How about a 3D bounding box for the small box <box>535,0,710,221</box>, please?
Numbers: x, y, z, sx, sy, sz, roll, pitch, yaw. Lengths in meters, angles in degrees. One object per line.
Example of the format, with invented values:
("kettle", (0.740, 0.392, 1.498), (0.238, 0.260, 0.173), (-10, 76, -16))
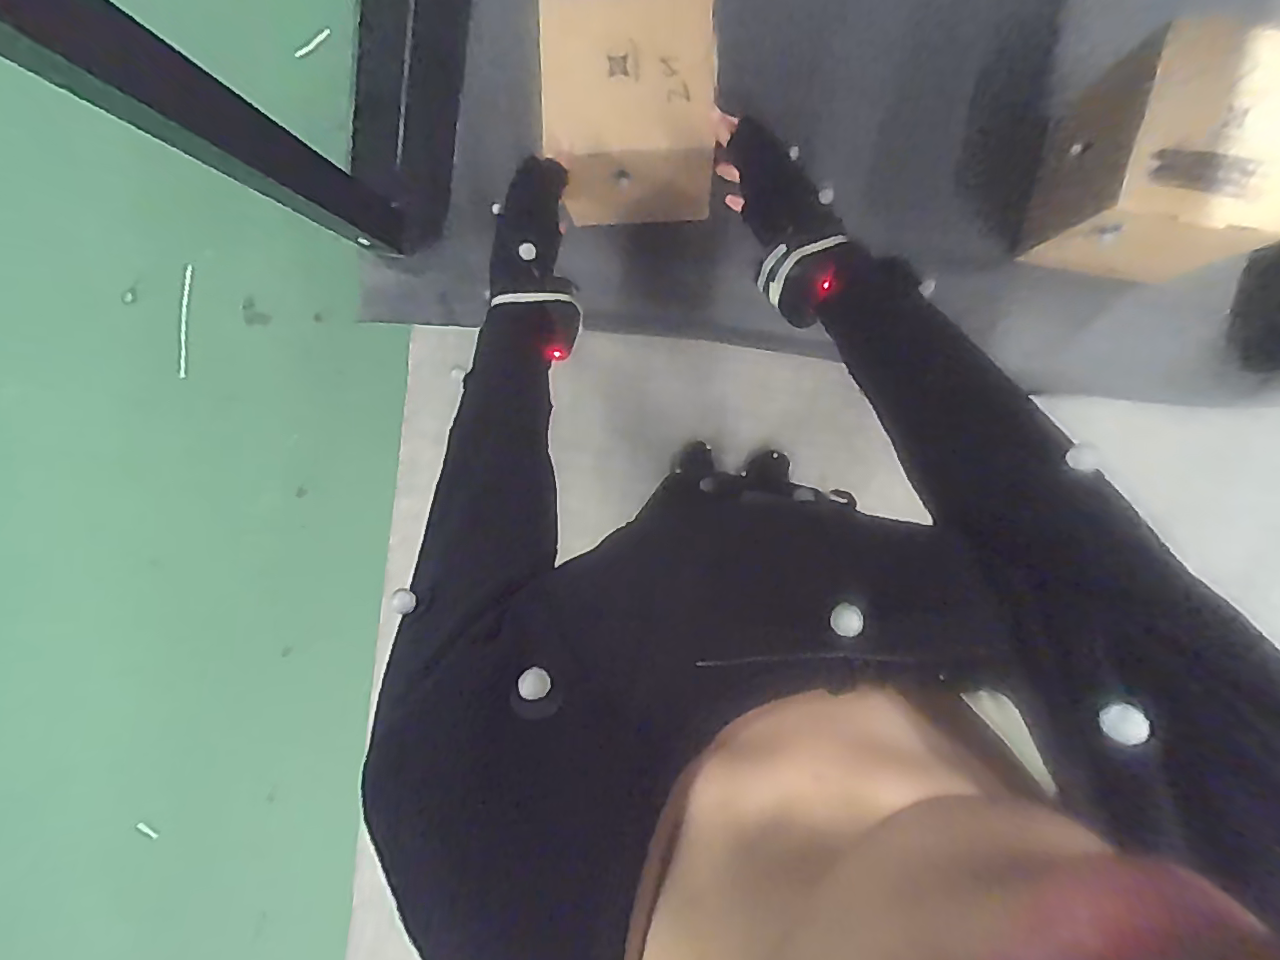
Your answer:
("small box", (-0.011, -0.411, 0.616), (0.179, 0.176, 0.168), (-1, 94, 4))
